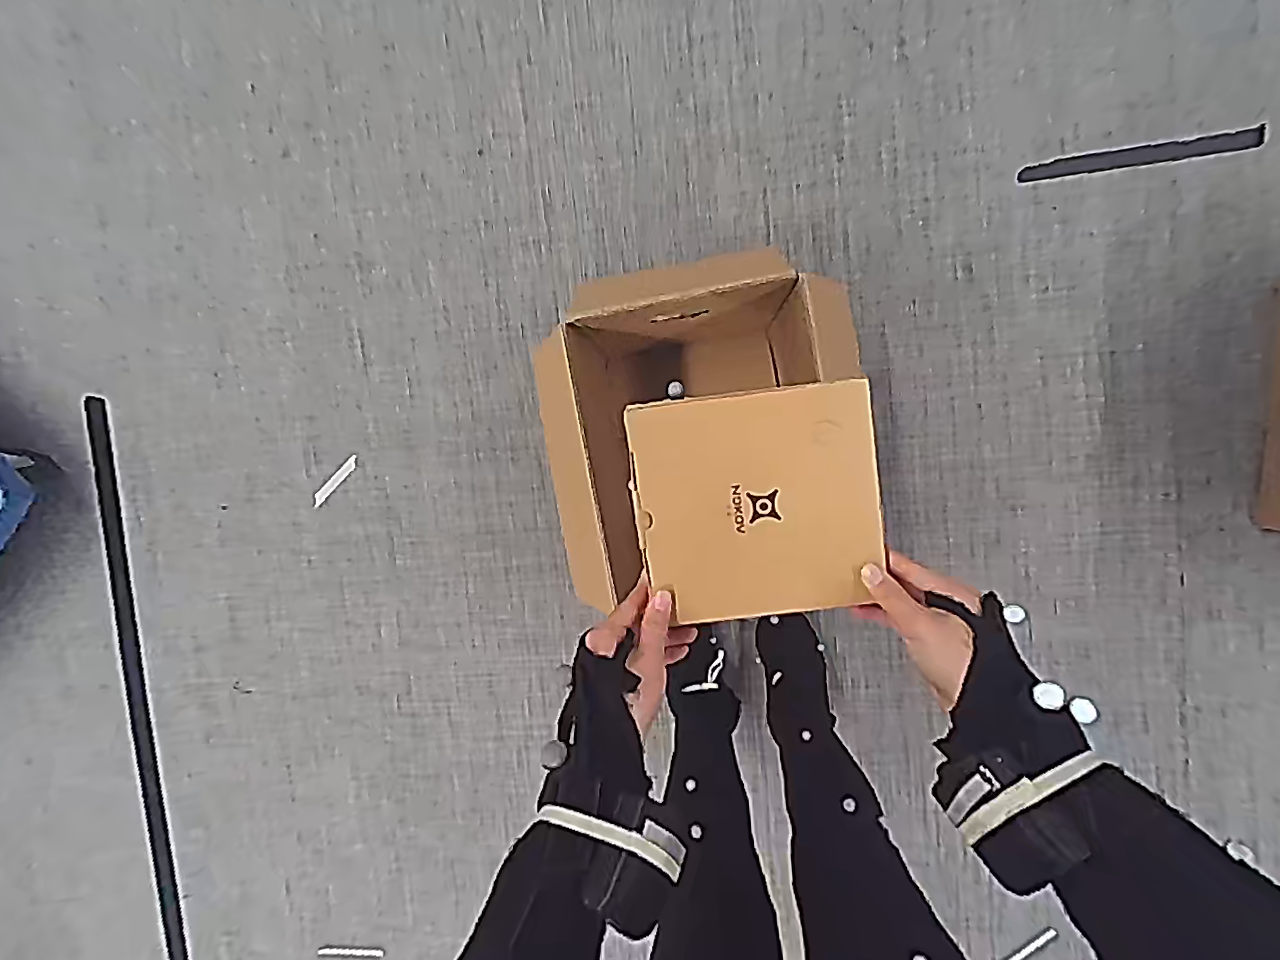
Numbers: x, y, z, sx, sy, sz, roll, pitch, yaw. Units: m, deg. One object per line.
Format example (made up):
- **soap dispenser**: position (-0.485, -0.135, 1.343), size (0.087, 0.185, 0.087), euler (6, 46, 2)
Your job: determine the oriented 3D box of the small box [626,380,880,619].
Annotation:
- **small box**: position (0.087, 0.007, 0.477), size (0.179, 0.176, 0.168), euler (-7, 96, 4)
